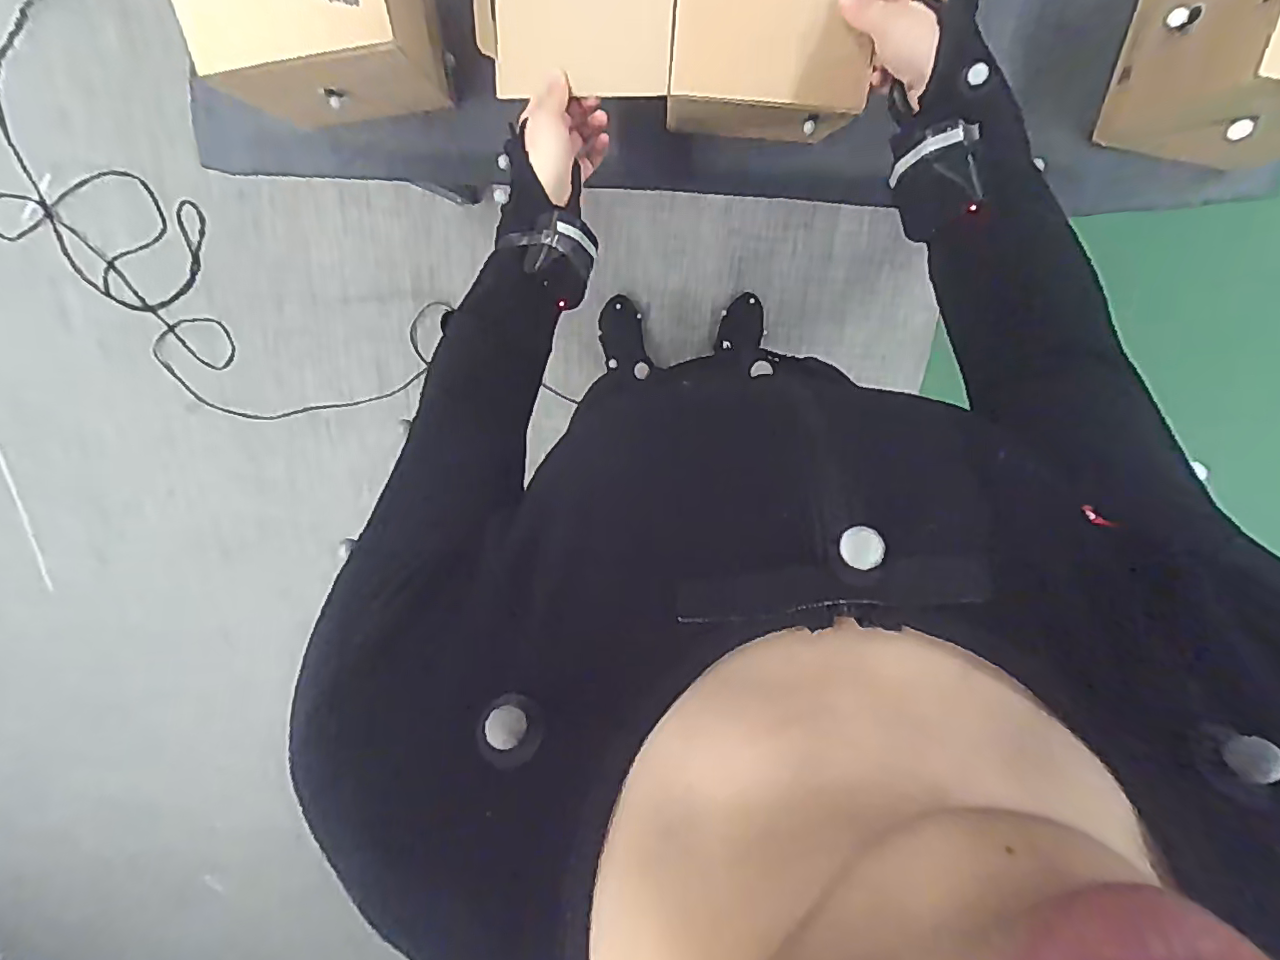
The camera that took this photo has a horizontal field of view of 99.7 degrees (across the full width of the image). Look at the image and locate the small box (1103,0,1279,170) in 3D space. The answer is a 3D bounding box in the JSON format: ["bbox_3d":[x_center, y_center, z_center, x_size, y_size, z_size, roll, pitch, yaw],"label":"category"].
[{"bbox_3d":[0.601,-0.412,0.506,0.179,0.176,0.168,9,105,-2],"label":"small box"}]

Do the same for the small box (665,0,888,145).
[{"bbox_3d":[0.117,-0.424,0.506,0.179,0.176,0.168,4,114,1],"label":"small box"}]

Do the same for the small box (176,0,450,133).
[{"bbox_3d":[-0.295,-0.448,0.505,0.179,0.176,0.168,-7,110,3],"label":"small box"}]
